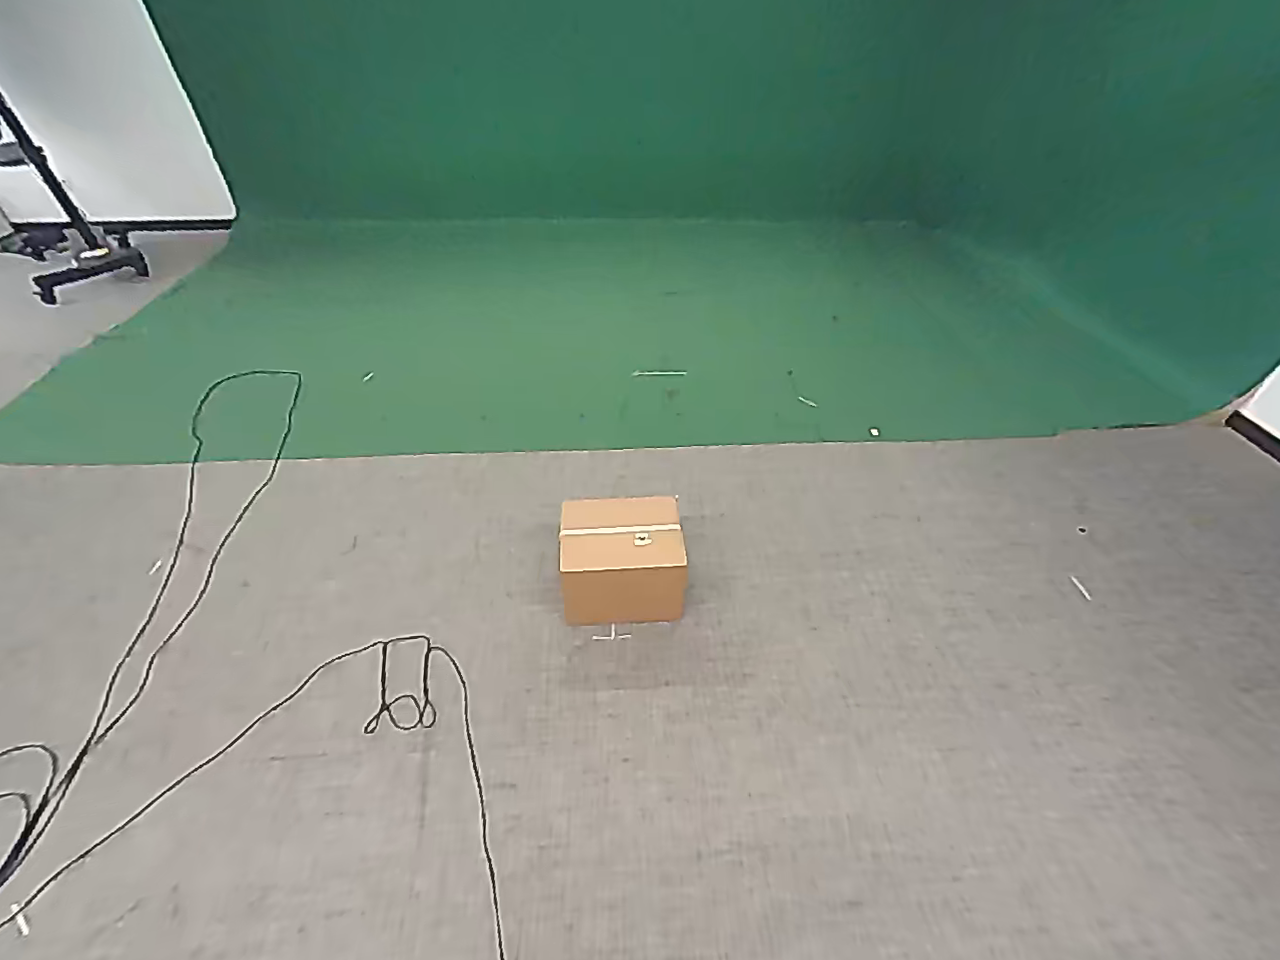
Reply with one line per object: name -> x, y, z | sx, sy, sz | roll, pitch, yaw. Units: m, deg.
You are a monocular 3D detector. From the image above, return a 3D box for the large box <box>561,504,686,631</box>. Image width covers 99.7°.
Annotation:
large box -> -0.067, 0.308, 1.910 | 0.408, 0.320, 0.320 | -3, 43, -5
